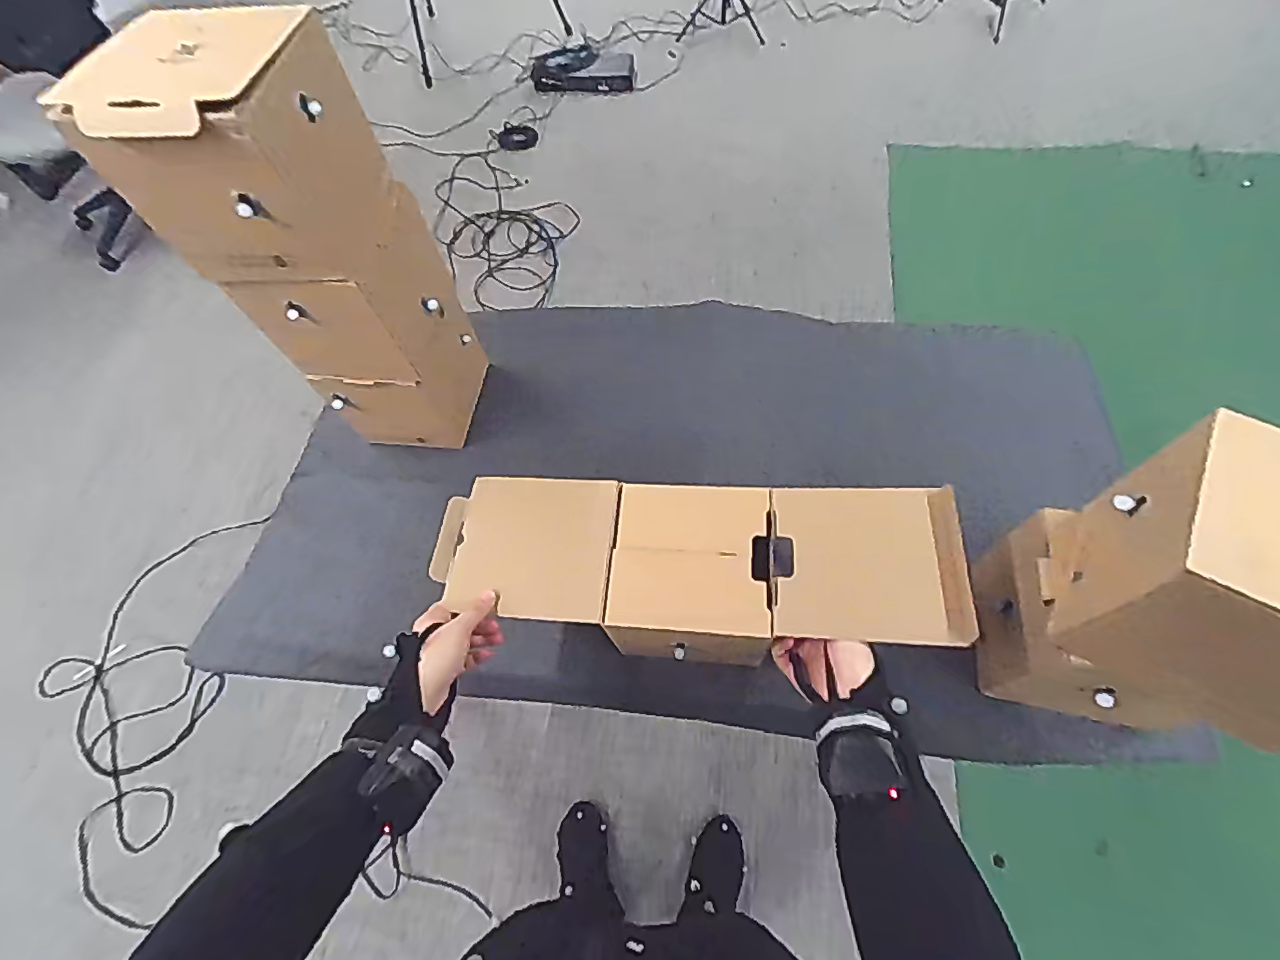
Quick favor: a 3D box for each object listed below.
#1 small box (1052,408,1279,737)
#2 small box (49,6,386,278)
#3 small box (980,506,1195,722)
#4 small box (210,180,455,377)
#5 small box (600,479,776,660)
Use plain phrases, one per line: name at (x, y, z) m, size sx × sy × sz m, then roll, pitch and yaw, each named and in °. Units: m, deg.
small box at (0.480, 0.081, 0.430) m, size 0.179 × 0.176 × 0.168 m, roll 29°, pitch 66°, yaw 19°
small box at (-0.380, -0.319, 0.531) m, size 0.168 × 0.176 × 0.179 m, roll 1°, pitch 62°, yaw 4°
small box at (0.491, 0.149, 0.580) m, size 0.179 × 0.176 × 0.168 m, roll 9°, pitch 61°, yaw 11°
small box at (-0.361, -0.245, 0.674) m, size 0.179 × 0.176 × 0.168 m, roll 5°, pitch 64°, yaw 7°
small box at (0.062, 0.111, 0.638) m, size 0.179 × 0.176 × 0.168 m, roll 2°, pitch 63°, yaw 9°
